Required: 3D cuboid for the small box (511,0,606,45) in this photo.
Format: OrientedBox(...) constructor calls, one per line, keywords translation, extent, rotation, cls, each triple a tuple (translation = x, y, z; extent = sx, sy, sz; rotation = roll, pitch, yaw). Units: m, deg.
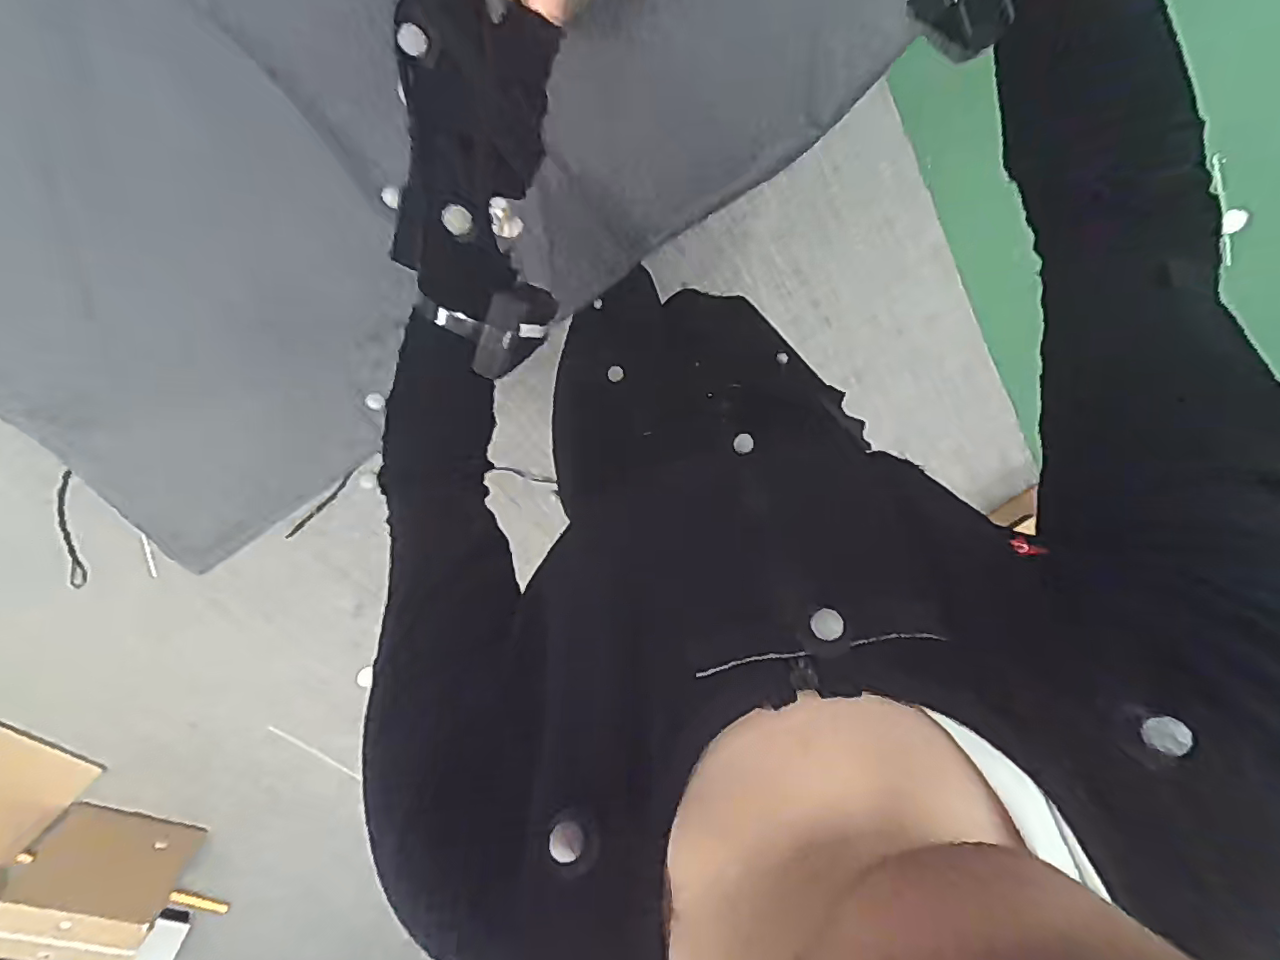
OrientedBox(translation=(-0.074, -0.499, 0.421), extent=(0.168, 0.176, 0.179), rotation=(-37, 113, 12), cls="small box")
